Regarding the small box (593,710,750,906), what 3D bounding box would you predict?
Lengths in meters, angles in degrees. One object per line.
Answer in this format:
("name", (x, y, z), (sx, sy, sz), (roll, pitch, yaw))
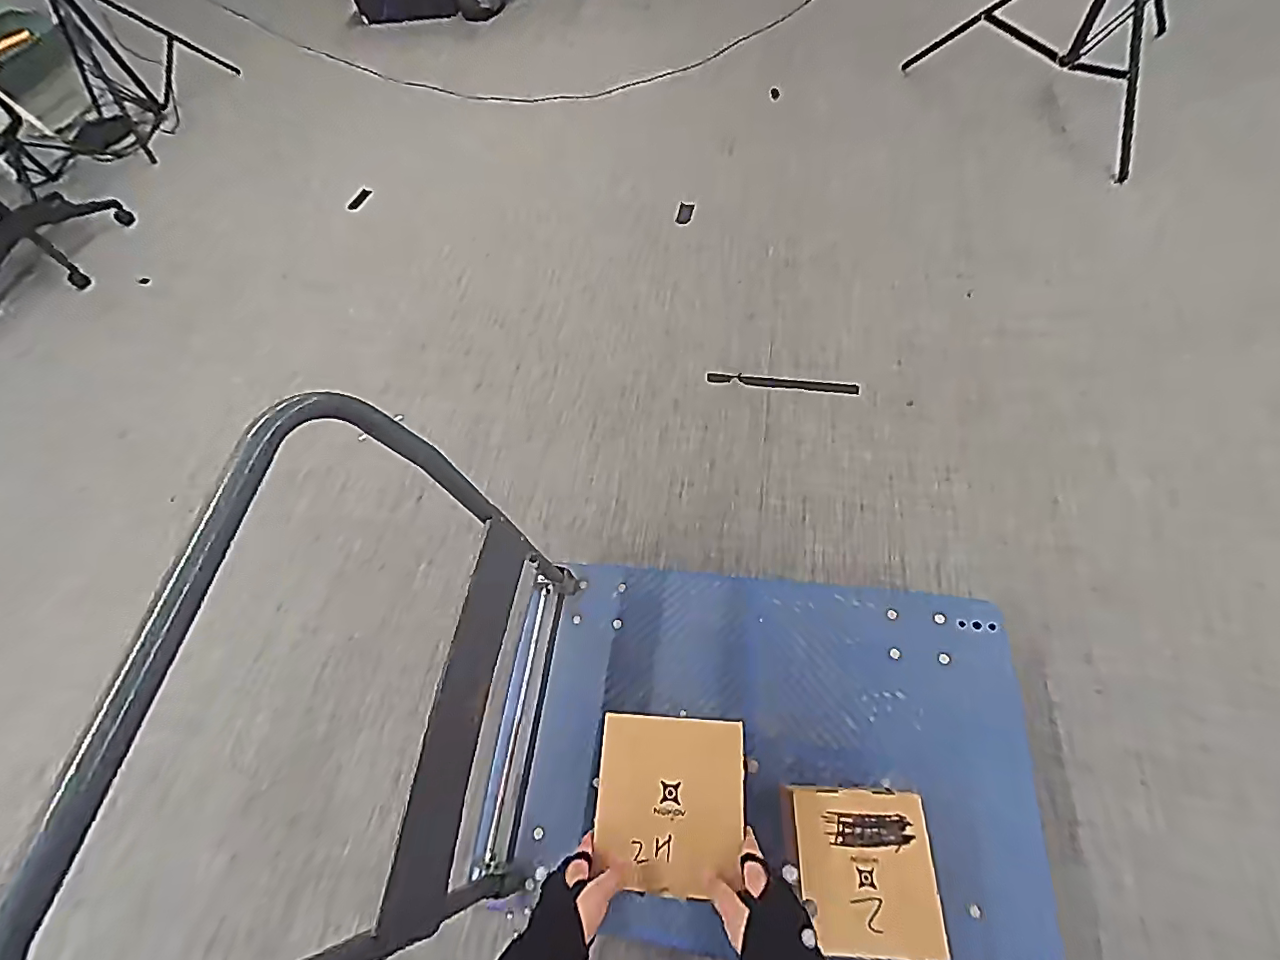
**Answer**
("small box", (0.048, 0.391, 0.666), (0.168, 0.176, 0.179), (-1, 62, 9))
